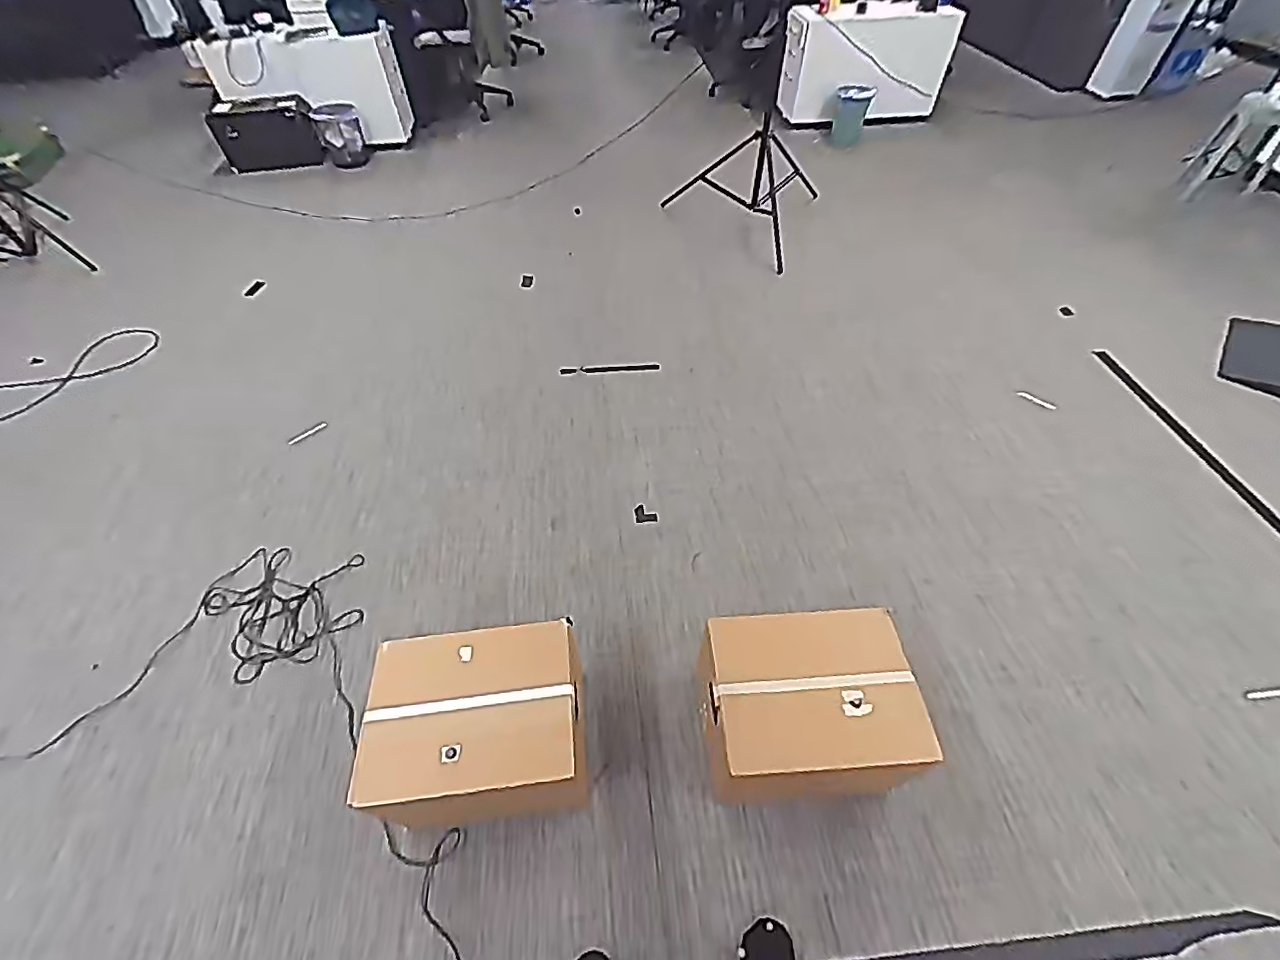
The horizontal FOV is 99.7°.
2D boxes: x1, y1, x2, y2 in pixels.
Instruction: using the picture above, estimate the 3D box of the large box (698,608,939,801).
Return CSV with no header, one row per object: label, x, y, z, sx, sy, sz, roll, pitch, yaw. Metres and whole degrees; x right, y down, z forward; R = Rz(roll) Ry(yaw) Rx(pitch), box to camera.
large box,0.359,0.509,1.220,0.408,0.320,0.320,-2,51,-2
